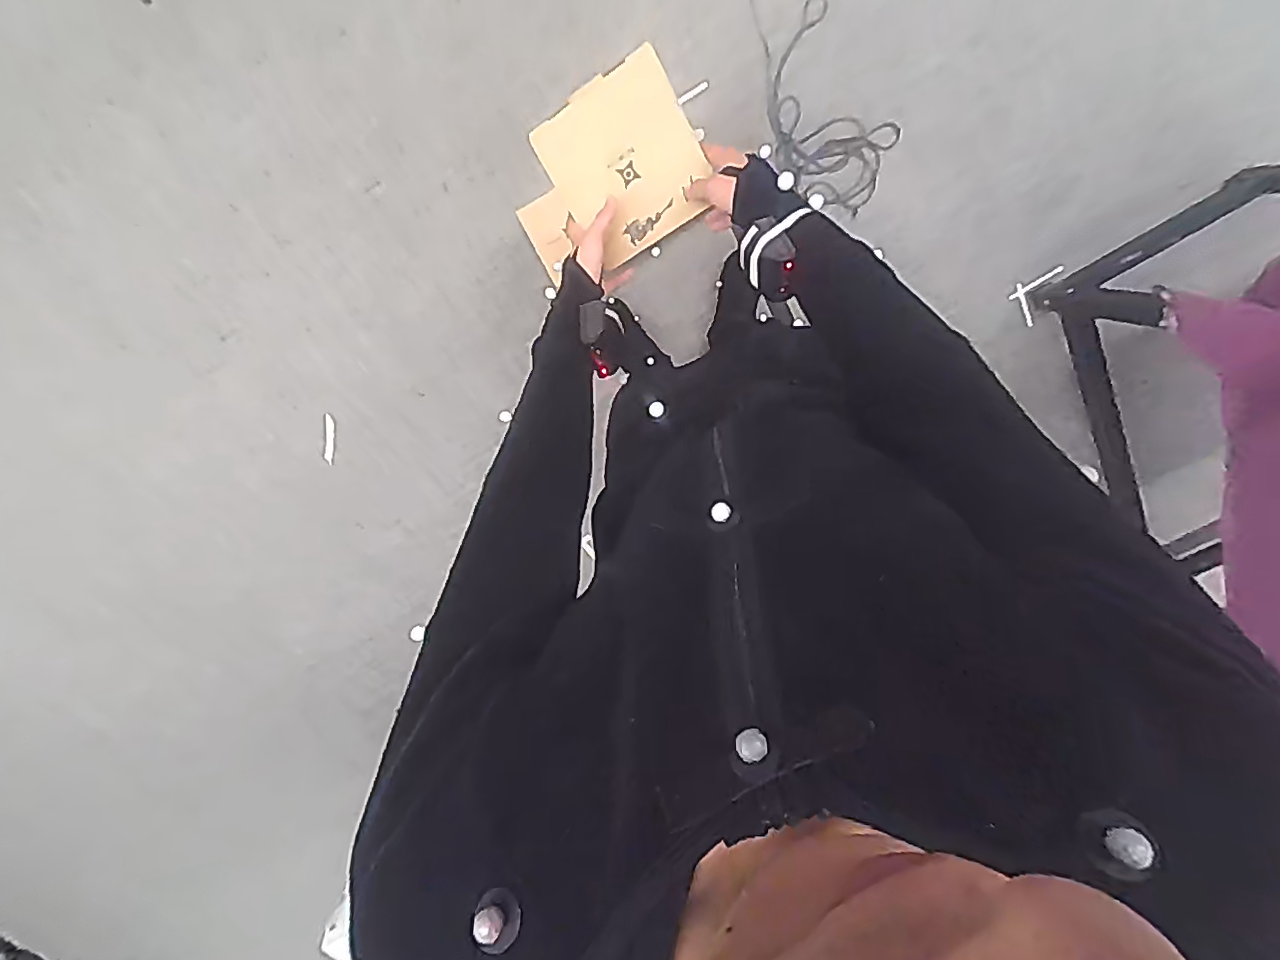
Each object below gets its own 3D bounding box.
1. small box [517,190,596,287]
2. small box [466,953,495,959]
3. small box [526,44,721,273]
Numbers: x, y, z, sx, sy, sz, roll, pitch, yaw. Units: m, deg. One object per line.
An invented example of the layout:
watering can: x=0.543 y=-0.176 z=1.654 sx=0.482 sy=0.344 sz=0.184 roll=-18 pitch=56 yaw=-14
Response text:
small box: x=-0.137 y=-0.541 z=1.168 sx=0.179 sy=0.176 sz=0.168 roll=-25 pitch=112 yaw=11
small box: x=-0.519 y=1.615 z=1.667 sx=0.179 sy=0.176 sz=0.168 roll=-29 pitch=112 yaw=12
small box: x=-0.010 y=-0.385 z=0.685 sx=0.168 sy=0.176 sz=0.179 roll=-26 pitch=108 yaw=19
